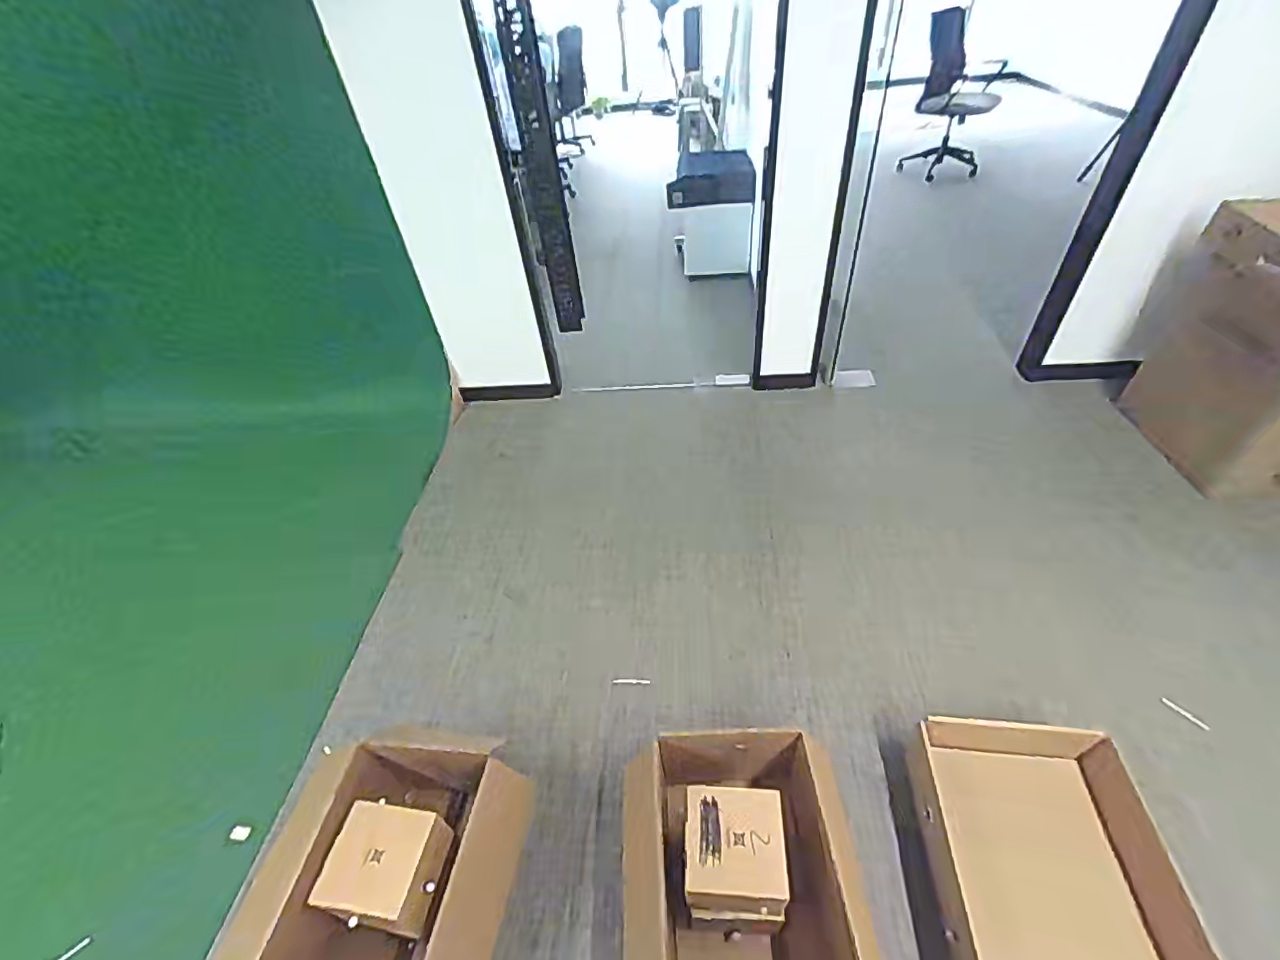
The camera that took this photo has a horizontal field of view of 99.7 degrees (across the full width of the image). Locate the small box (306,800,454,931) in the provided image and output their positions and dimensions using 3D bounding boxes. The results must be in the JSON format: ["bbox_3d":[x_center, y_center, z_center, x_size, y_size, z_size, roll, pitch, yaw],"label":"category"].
[{"bbox_3d":[-0.485,0.746,1.045,0.179,0.176,0.168,3,43,8],"label":"small box"}]
